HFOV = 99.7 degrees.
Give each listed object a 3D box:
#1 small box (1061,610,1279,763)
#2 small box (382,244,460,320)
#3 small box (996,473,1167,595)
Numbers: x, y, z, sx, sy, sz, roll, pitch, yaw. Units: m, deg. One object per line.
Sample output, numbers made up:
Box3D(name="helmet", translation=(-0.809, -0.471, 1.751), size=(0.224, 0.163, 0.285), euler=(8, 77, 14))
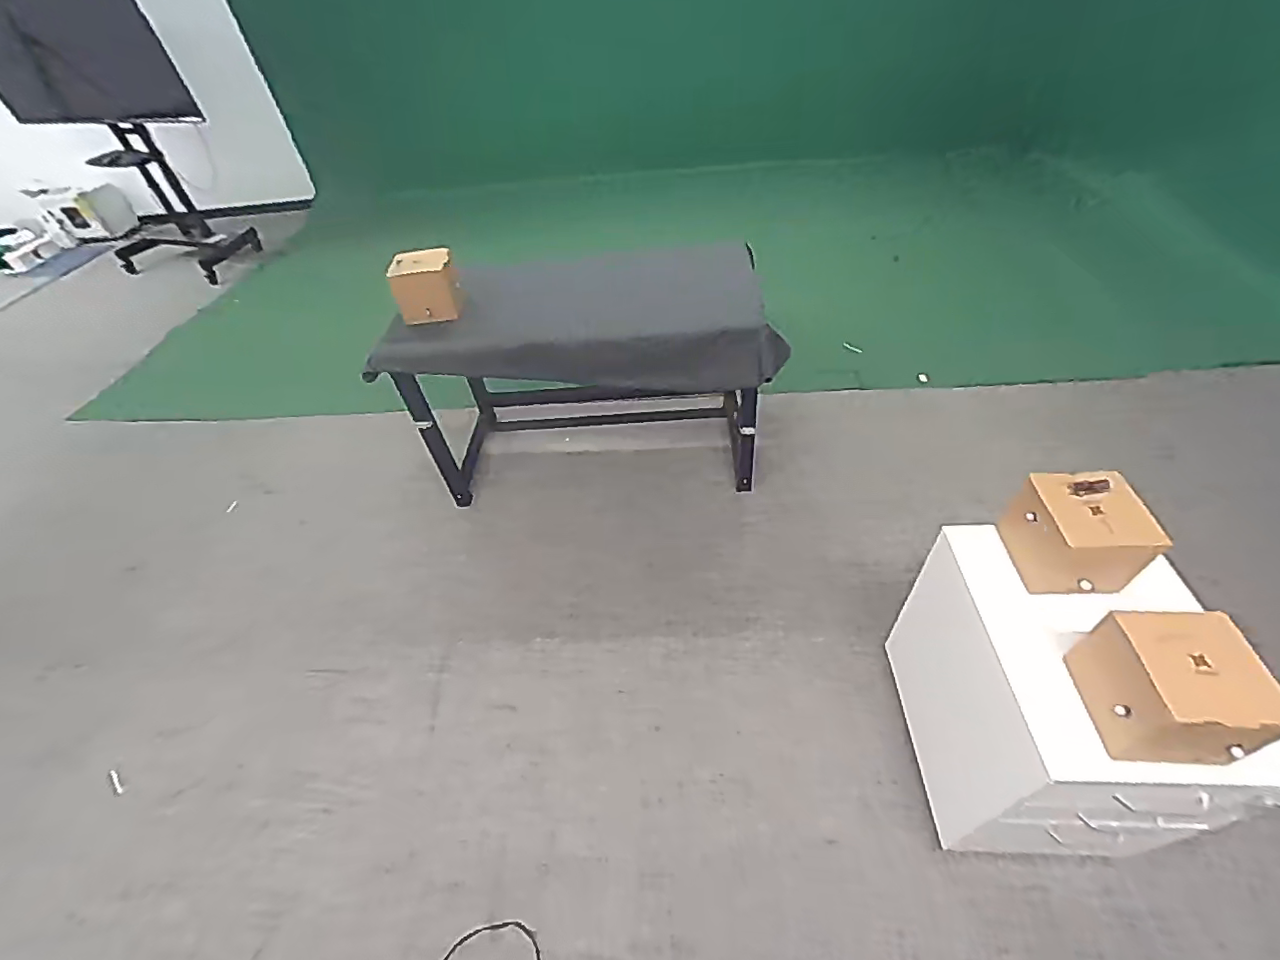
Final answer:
Box3D(name="small box", translation=(0.819, 0.325, 0.847), size=(0.168, 0.176, 0.179), euler=(0, 45, 5))
Box3D(name="small box", translation=(-0.696, -0.636, 1.741), size=(0.179, 0.176, 0.168), euler=(-6, 46, -2))
Box3D(name="small box", translation=(0.834, 0.105, 1.050), size=(0.168, 0.176, 0.179), euler=(-2, 49, 5))
